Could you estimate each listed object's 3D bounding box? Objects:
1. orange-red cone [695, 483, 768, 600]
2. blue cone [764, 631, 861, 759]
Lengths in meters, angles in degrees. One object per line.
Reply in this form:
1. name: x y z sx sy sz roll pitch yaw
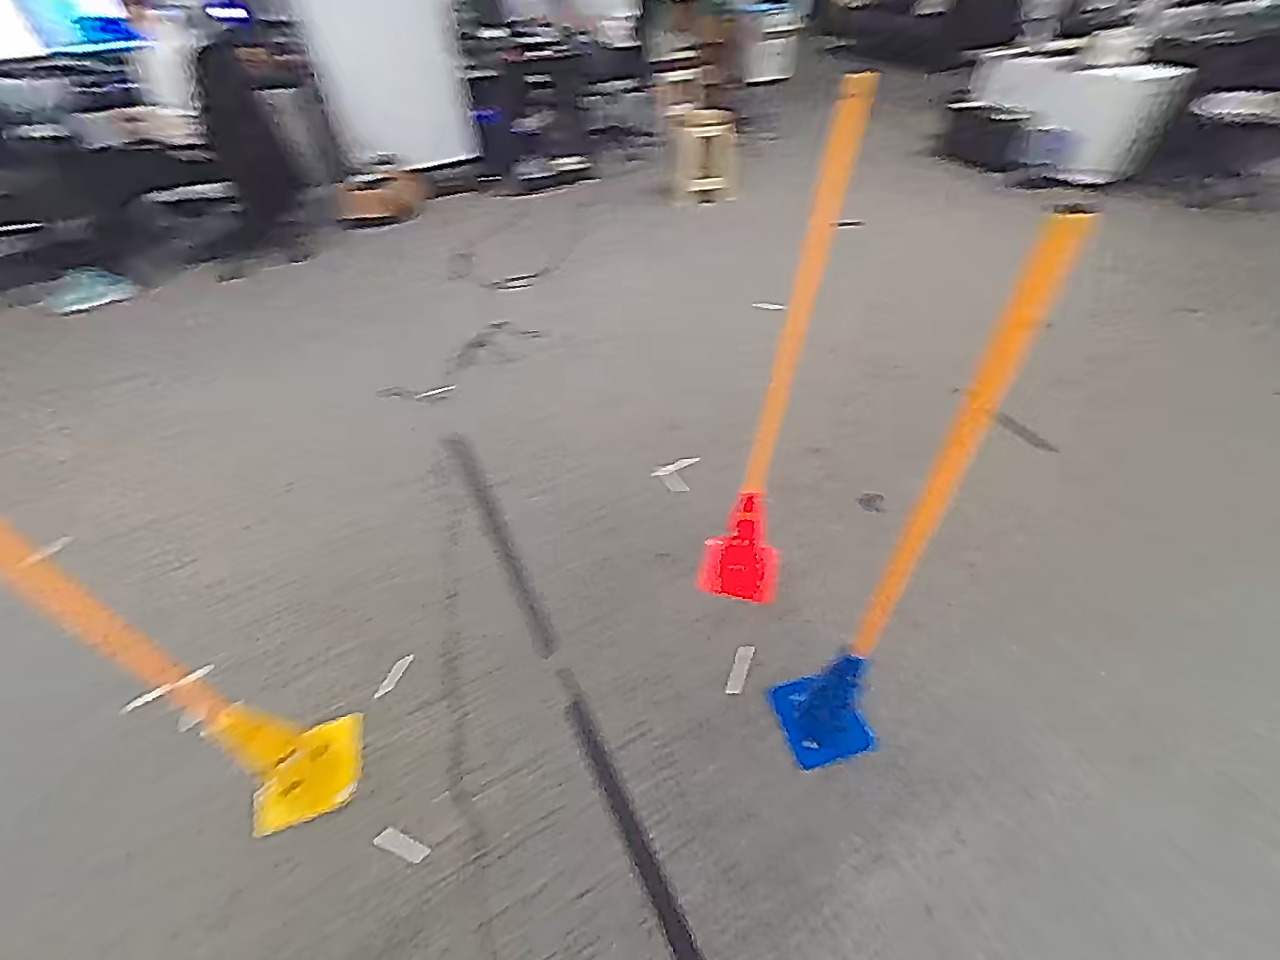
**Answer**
1. orange-red cone: 0.266 0.141 1.476 0.198 0.360 0.199 10 49 12
2. blue cone: 0.413 0.451 1.195 0.193 0.380 0.192 -12 46 -9
